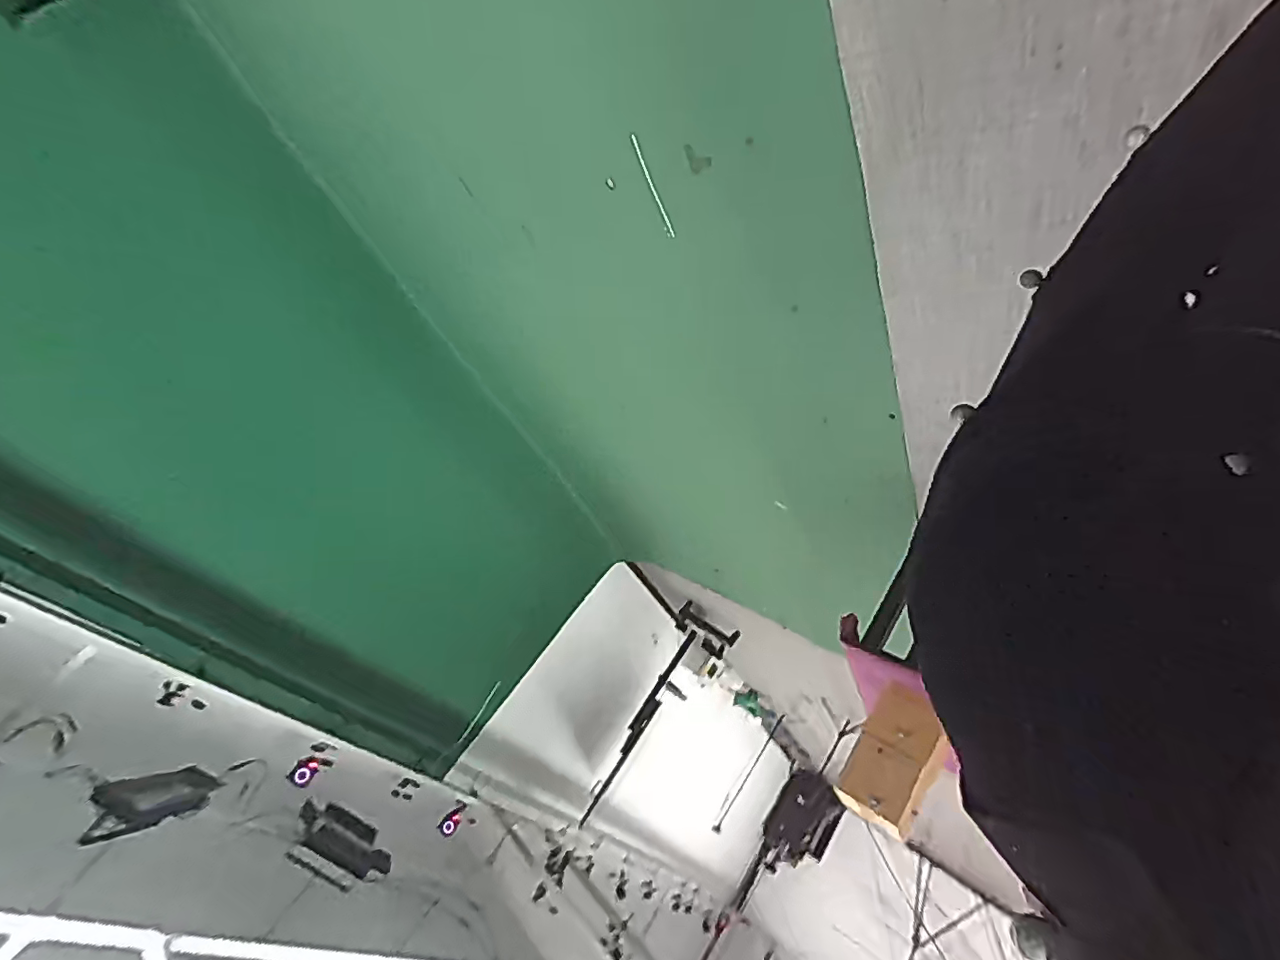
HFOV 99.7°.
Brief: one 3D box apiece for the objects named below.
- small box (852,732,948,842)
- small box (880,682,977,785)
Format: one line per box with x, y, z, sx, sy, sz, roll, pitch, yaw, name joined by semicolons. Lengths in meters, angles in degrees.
0.688;0.802;1.420;0.168;0.176;0.179;16;151;45;small box
0.787;0.680;1.472;0.179;0.176;0.168;17;150;45;small box
